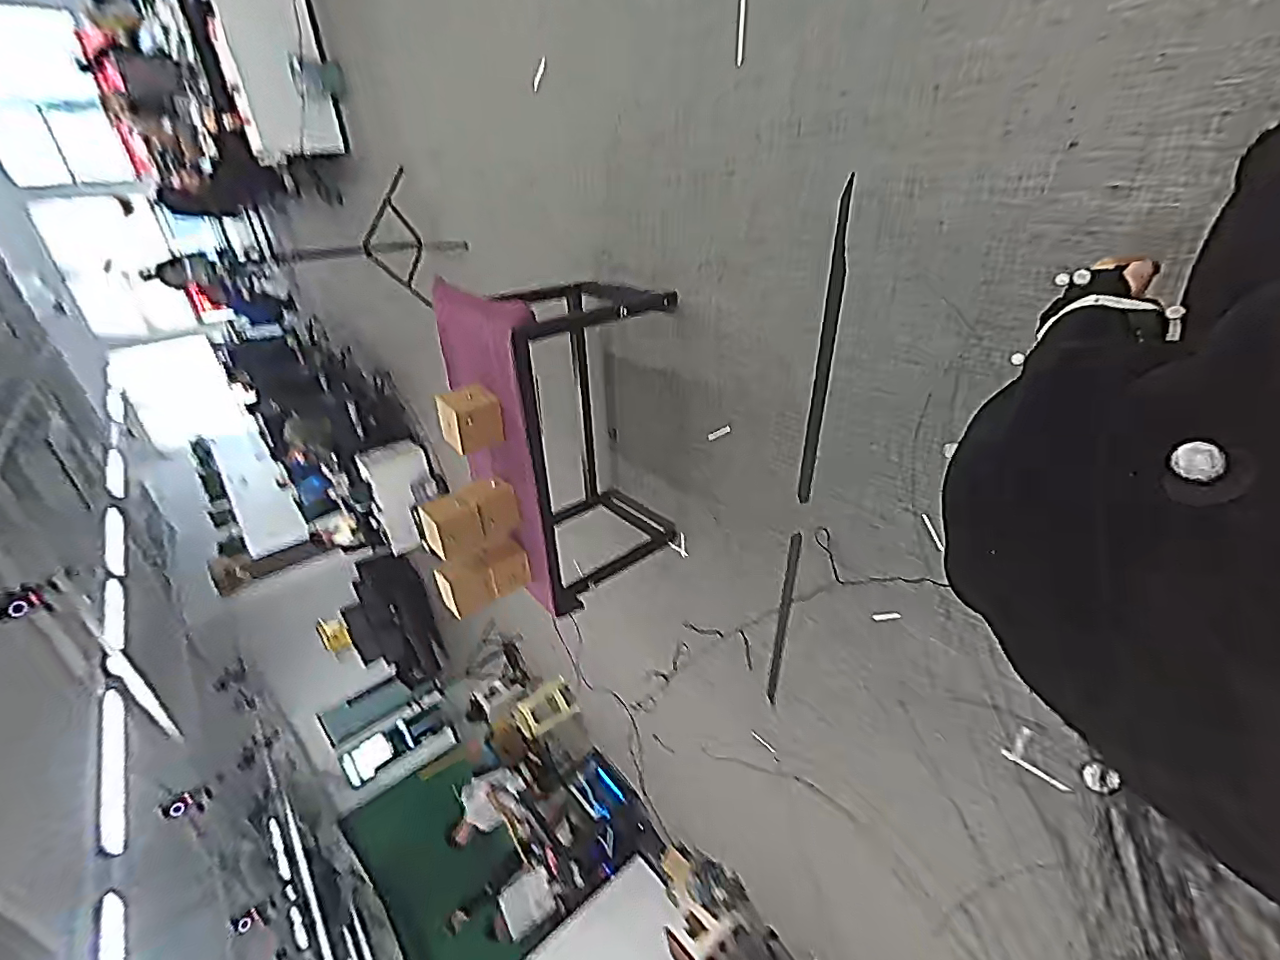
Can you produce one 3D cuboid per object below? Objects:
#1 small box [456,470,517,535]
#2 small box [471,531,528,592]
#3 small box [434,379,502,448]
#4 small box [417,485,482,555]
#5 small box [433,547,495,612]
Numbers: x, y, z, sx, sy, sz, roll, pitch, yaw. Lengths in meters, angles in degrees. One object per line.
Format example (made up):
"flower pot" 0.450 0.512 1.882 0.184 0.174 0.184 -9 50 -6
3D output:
"small box" -0.603 0.084 2.148 0.168 0.176 0.179 27 130 43
"small box" -0.589 0.339 2.295 0.179 0.176 0.168 26 131 44
"small box" -0.618 -0.246 1.955 0.168 0.176 0.179 37 138 37
"small box" -0.717 0.147 2.051 0.168 0.176 0.179 29 131 40
"small box" -0.718 0.400 2.213 0.168 0.176 0.179 24 129 46
